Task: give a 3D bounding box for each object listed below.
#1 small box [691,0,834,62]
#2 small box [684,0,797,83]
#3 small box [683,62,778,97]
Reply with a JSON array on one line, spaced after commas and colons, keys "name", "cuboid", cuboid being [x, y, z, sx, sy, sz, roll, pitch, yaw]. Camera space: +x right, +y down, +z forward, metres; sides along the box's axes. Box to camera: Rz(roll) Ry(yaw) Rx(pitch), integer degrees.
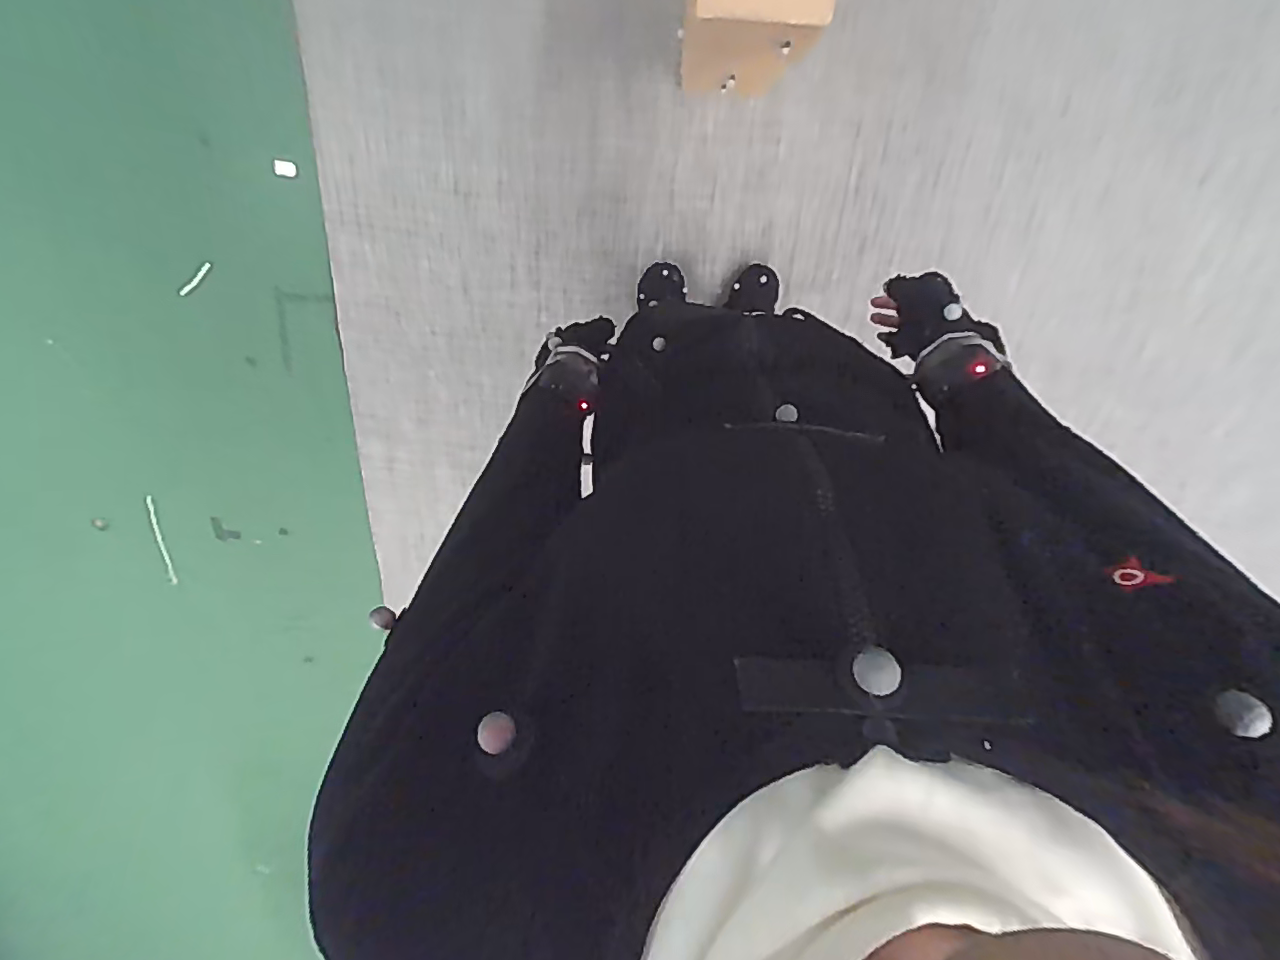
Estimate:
[{"name": "small box", "cuboid": [0.165, -0.691, 0.730, 0.179, 0.176, 0.168, 4, 114, 3]}, {"name": "small box", "cuboid": [0.165, -0.764, 0.879, 0.179, 0.176, 0.168, 4, 116, 3]}, {"name": "small box", "cuboid": [0.175, -0.842, 1.019, 0.179, 0.176, 0.168, 5, 114, 3]}]
